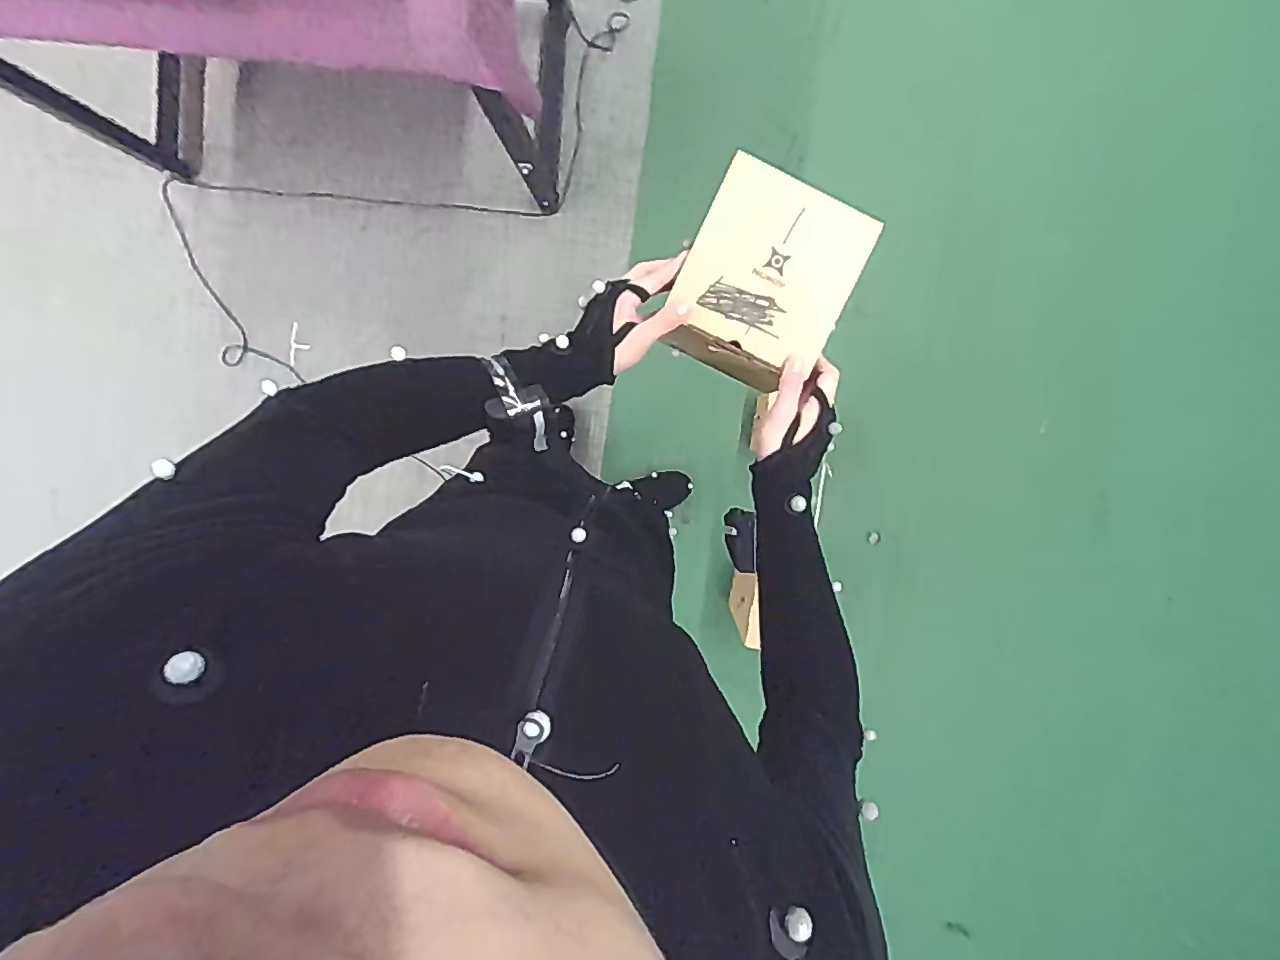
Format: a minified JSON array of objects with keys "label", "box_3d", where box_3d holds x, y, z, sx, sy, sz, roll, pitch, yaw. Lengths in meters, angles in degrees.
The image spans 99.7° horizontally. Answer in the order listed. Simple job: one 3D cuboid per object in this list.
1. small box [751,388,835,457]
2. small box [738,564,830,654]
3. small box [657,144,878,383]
[{"label":"small box","box_3d":[0.421,-0.160,1.511,0.179,0.176,0.168,8,95,3]},{"label":"small box","box_3d":[0.361,0.322,1.384,0.179,0.176,0.168,9,95,2]},{"label":"small box","box_3d":[0.128,-0.224,0.616,0.168,0.176,0.179,25,94,-3]}]
